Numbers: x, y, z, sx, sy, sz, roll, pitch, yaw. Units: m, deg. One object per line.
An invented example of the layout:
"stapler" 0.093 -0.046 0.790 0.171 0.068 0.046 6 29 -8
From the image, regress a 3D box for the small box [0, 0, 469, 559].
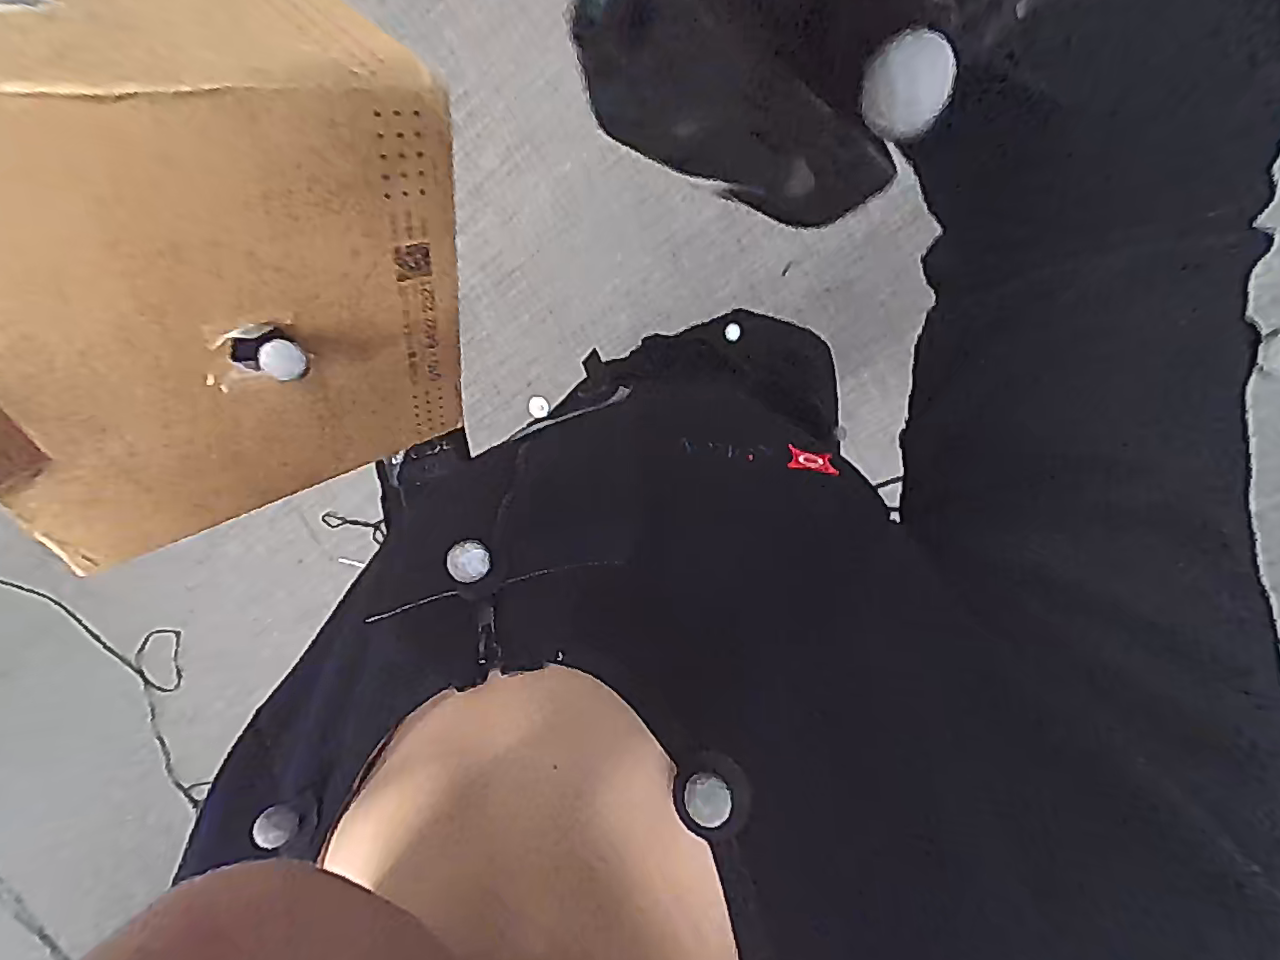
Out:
"small box" -0.189 -0.106 0.230 0.179 0.176 0.168 46 143 20
